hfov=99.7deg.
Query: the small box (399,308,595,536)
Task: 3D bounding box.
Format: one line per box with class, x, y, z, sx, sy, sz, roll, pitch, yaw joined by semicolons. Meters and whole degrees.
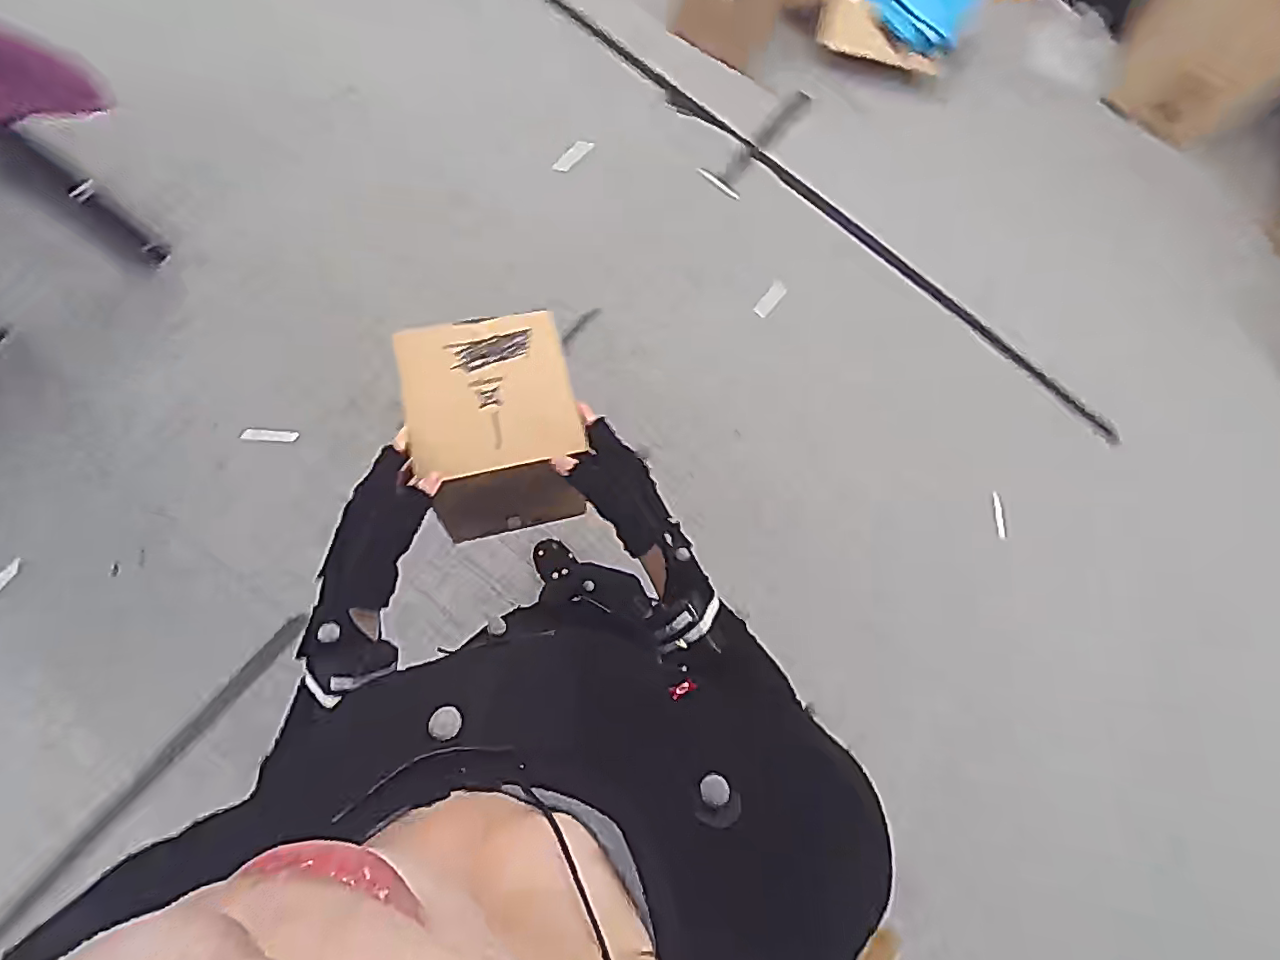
small box;-0.153;-0.059;0.602;0.168;0.176;0.179;-13;67;-13
